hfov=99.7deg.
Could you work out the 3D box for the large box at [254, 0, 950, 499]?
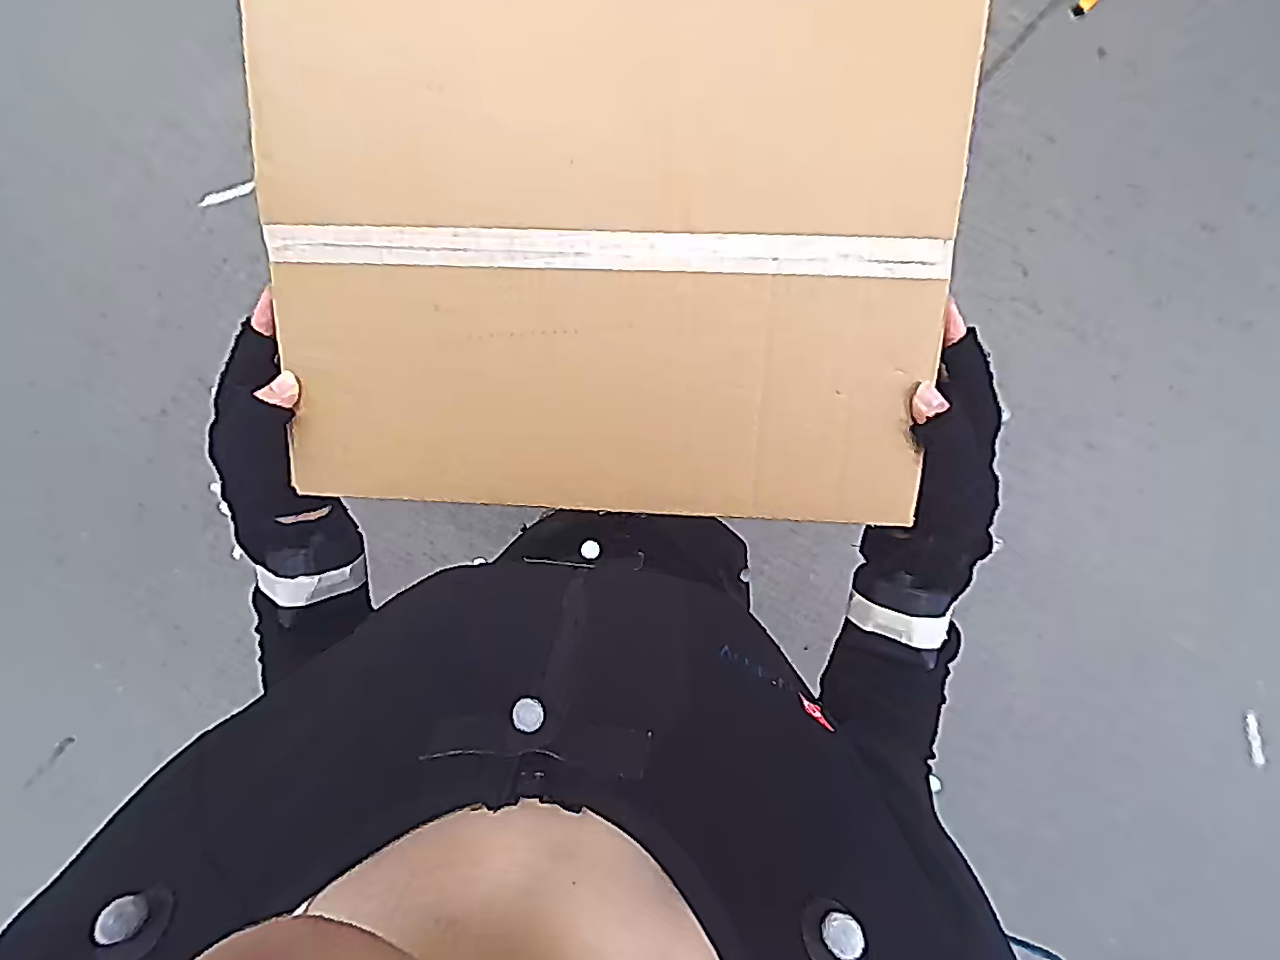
[{"bbox_3d":[-0.023,-0.170,0.478,0.408,0.320,0.320,2,103,3],"label":"large box"}]
